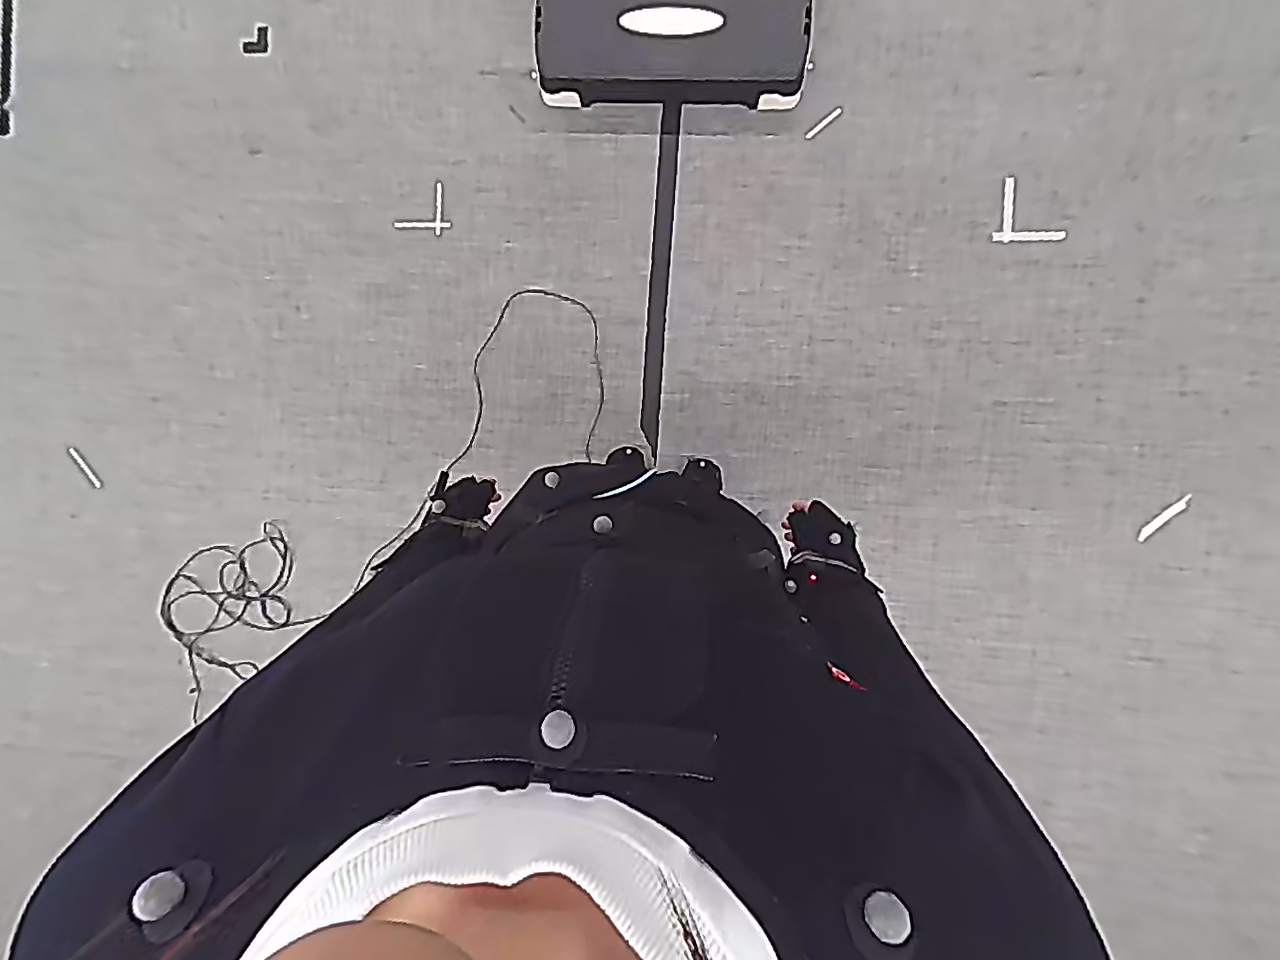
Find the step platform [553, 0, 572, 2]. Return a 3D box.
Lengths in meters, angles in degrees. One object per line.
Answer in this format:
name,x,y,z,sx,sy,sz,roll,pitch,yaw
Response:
step platform,0.068,-1.356,1.273,0.684,0.204,0.286,2,94,3
